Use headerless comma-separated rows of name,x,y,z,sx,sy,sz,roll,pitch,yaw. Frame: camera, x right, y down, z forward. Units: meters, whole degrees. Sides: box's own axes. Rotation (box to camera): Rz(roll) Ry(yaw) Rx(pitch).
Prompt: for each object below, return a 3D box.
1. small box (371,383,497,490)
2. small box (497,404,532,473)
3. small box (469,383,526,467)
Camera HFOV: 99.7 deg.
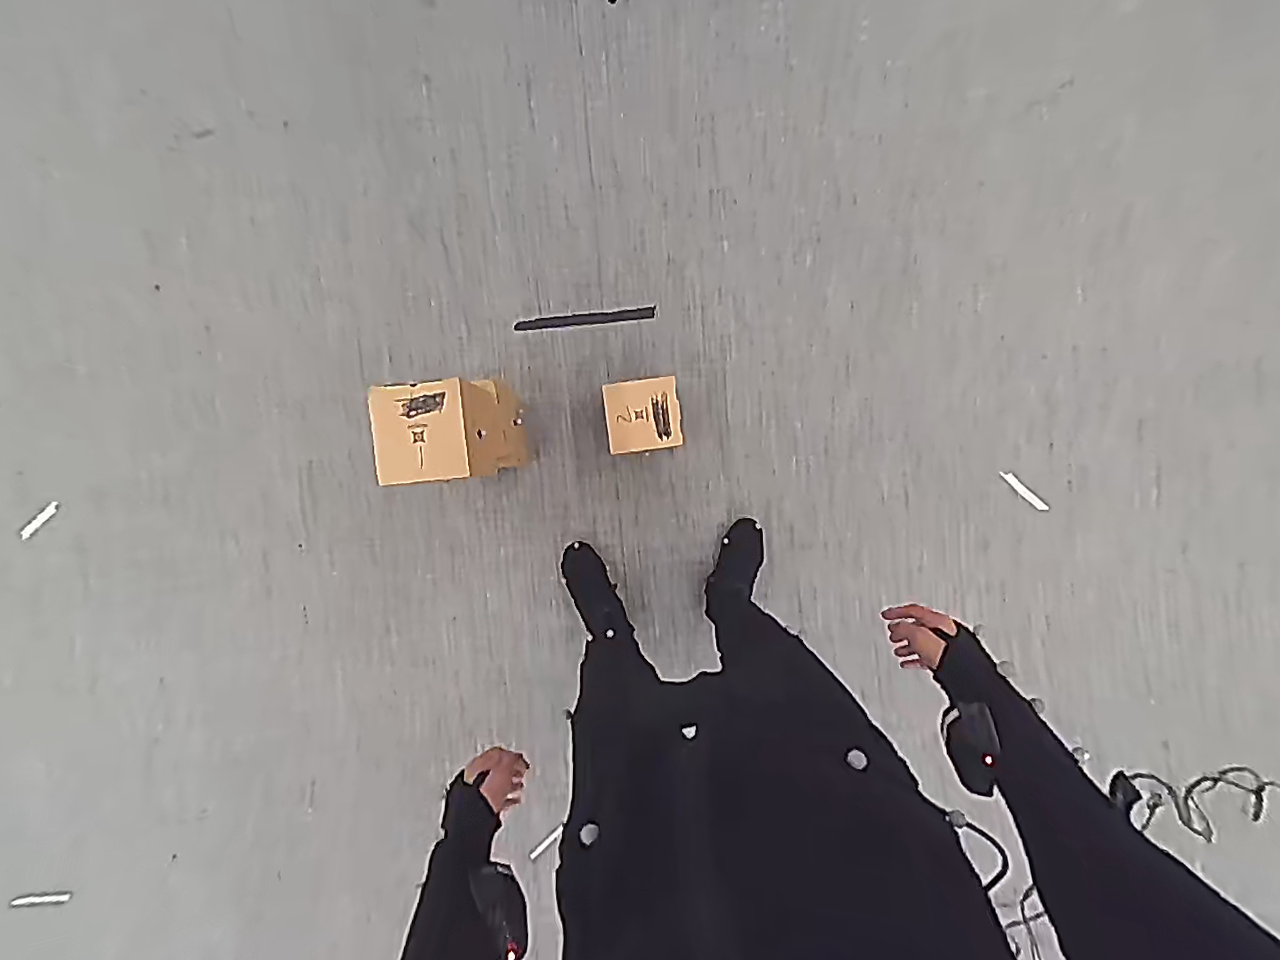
small box,-0.378,-0.077,1.017,0.168,0.176,0.179,-6,92,2
small box,-0.376,-0.105,1.345,0.168,0.176,0.179,-8,92,1
small box,-0.364,-0.106,1.181,0.179,0.176,0.168,-10,91,1
